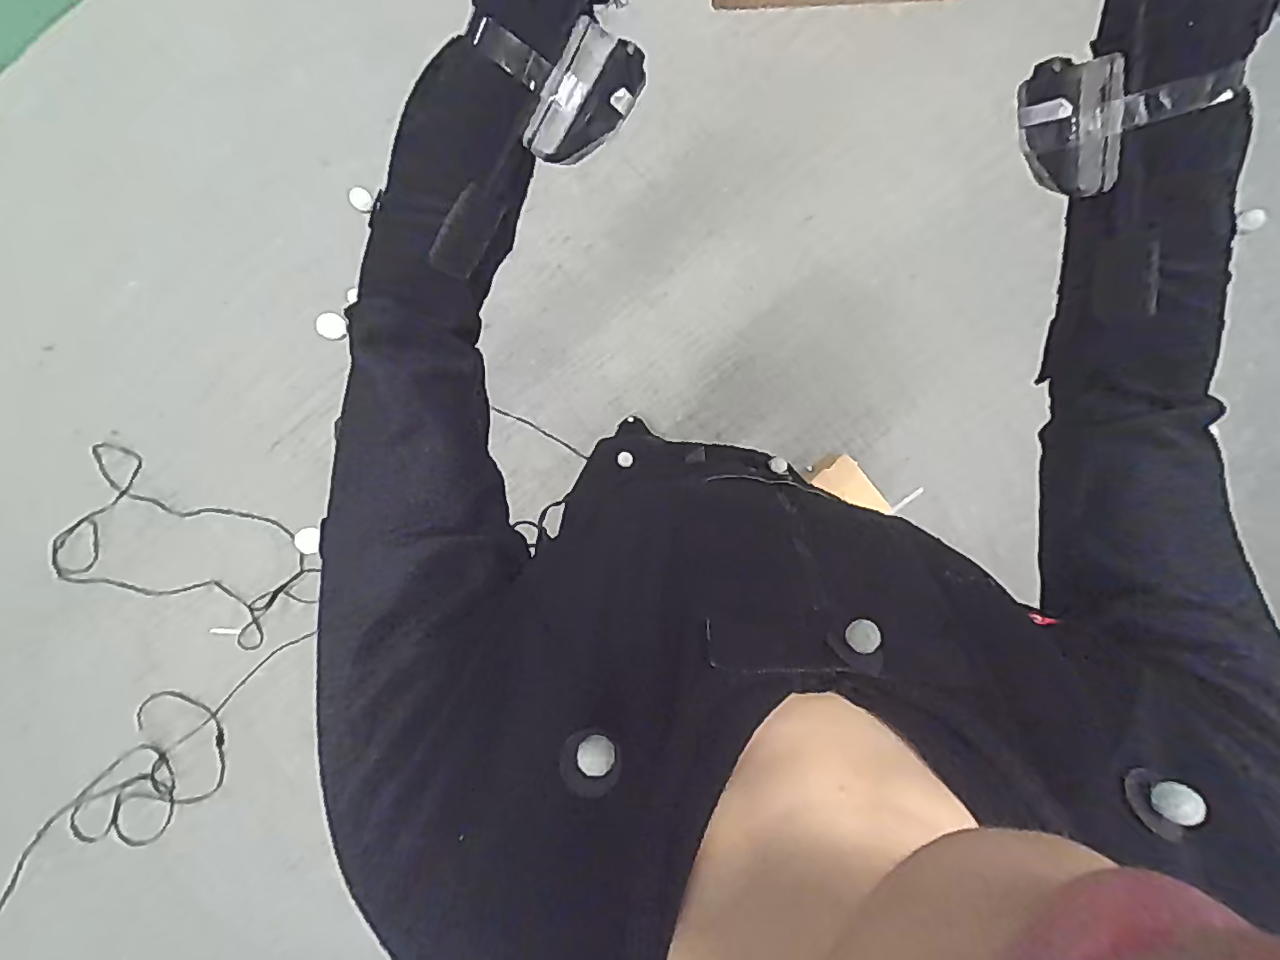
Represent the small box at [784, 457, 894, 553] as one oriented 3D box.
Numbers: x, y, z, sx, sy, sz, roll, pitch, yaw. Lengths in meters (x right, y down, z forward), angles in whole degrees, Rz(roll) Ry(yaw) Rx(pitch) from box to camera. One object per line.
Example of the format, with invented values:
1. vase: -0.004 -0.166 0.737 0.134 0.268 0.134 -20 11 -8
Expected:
1. small box: 0.493 0.059 1.366 0.168 0.176 0.179 -39 88 2
